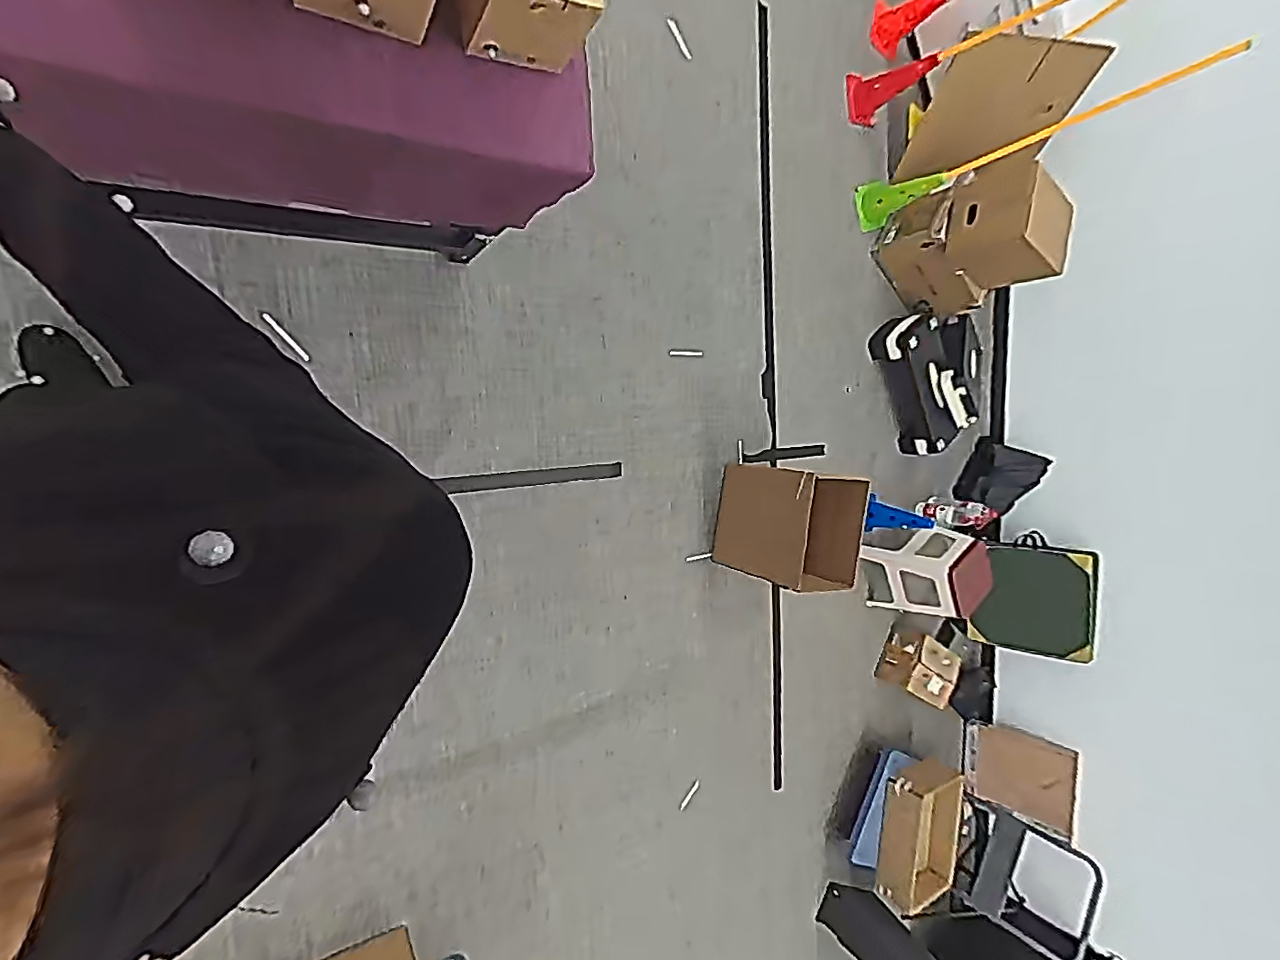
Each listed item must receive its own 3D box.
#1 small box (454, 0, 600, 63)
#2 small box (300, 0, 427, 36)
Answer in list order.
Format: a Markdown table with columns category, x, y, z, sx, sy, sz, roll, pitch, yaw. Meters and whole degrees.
| category | x | y | z | sx | sy | sz | roll | pitch | yaw |
| --- | --- | --- | --- | --- | --- | --- | --- | --- | --- |
| small box | -0.179 | -0.768 | 0.802 | 0.168 | 0.176 | 0.179 | -14 | 101 | -31 |
| small box | -0.362 | -0.729 | 0.686 | 0.168 | 0.176 | 0.179 | -7 | 99 | -32 |
